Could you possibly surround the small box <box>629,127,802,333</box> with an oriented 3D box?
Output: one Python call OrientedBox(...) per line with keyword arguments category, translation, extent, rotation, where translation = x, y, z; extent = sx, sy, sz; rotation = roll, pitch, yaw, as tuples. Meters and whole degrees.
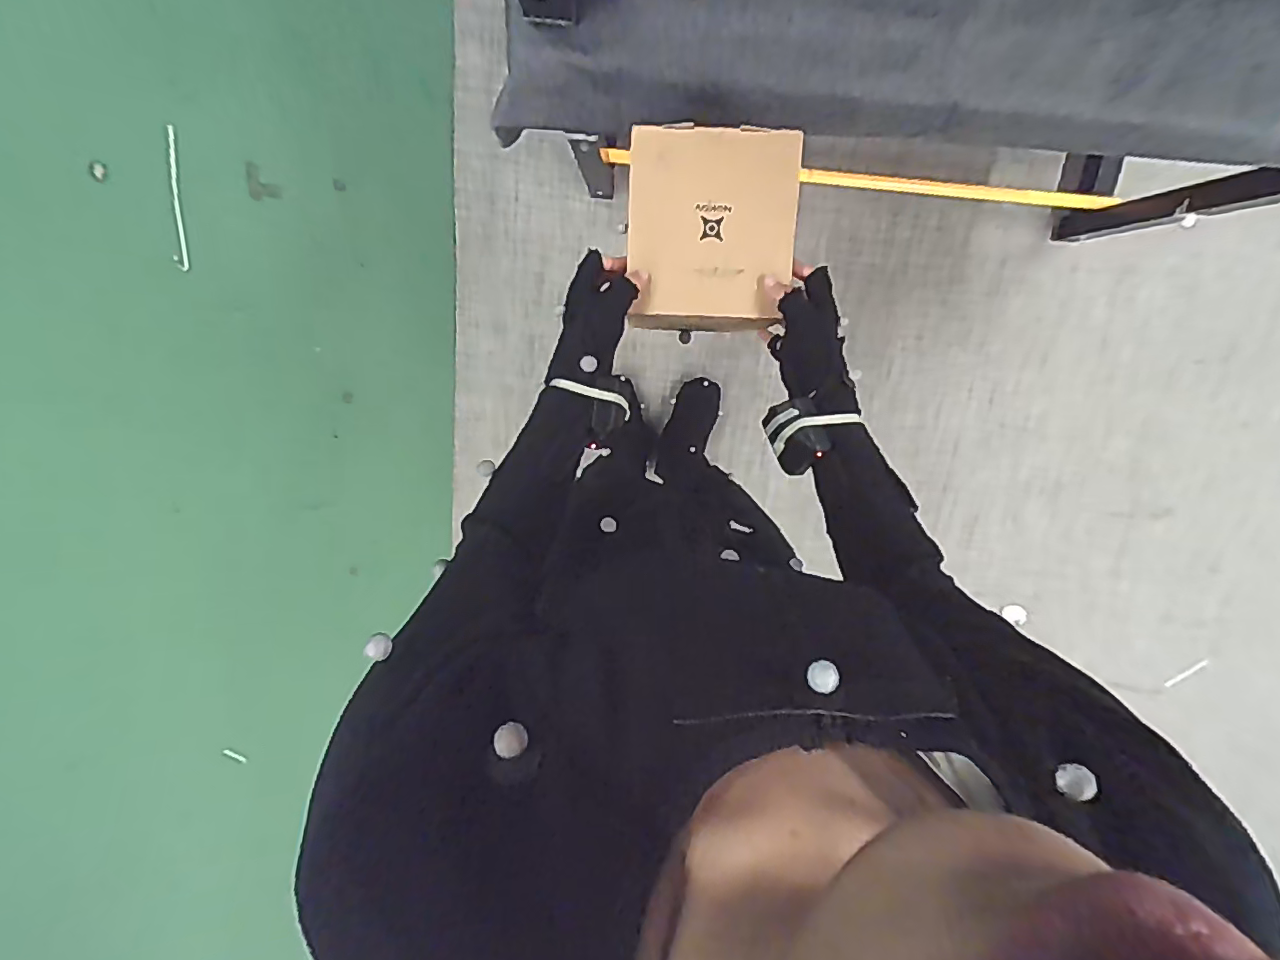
OrientedBox(category="small box", translation=(0.075, -0.268, 0.617), extent=(0.168, 0.176, 0.179), rotation=(2, 101, 2))
